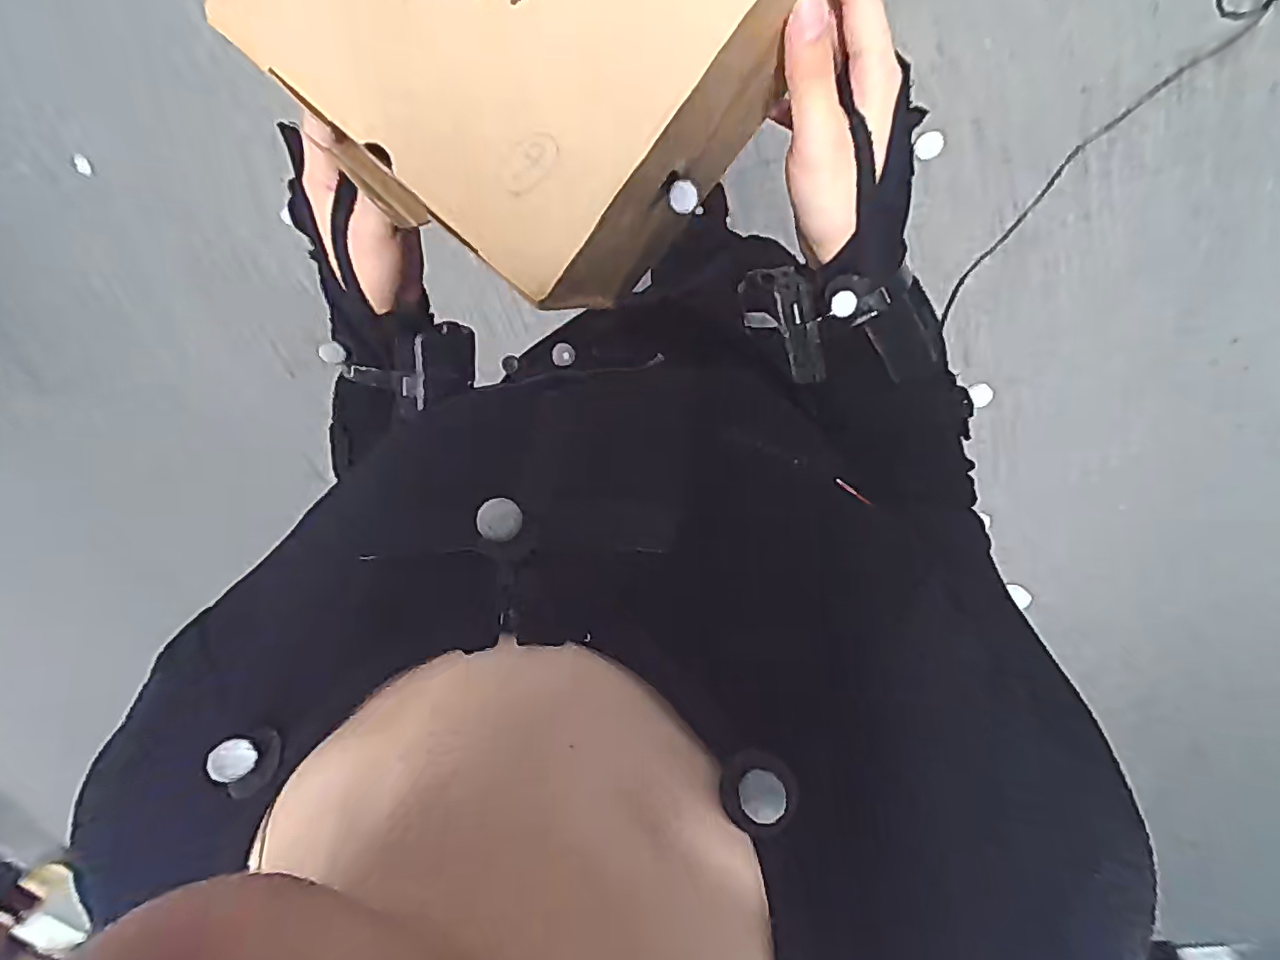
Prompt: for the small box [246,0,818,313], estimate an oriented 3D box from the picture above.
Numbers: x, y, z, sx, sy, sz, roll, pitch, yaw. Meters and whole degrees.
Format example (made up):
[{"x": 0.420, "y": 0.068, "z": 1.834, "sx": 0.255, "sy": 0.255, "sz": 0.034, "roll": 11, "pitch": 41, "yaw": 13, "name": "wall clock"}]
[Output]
[{"x": -0.028, "y": -0.204, "z": 0.265, "sx": 0.168, "sy": 0.176, "sz": 0.179, "roll": 41, "pitch": 110, "yaw": -5, "name": "small box"}]
